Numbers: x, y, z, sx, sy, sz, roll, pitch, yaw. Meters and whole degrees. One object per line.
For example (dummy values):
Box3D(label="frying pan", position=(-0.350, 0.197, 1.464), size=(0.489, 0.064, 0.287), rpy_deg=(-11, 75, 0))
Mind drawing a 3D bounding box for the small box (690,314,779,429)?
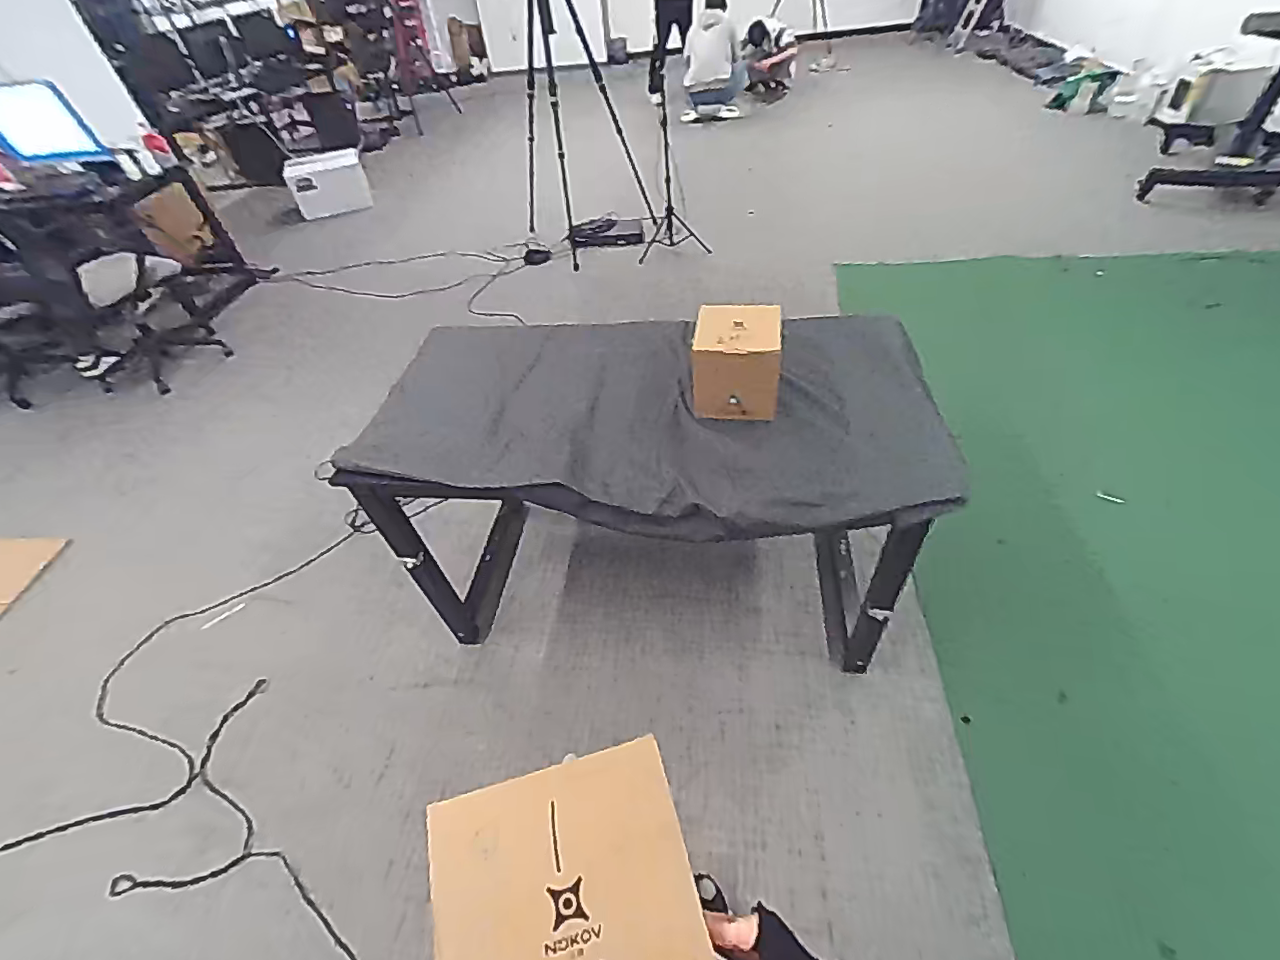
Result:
Box3D(label="small box", position=(0.197, -0.228, 1.126), size=(0.168, 0.176, 0.179), rpy_deg=(3, 46, 12))

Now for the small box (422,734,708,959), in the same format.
Box3D(label="small box", position=(-0.046, 0.314, 0.404), size=(0.168, 0.176, 0.179), rpy_deg=(-14, 58, -8))
